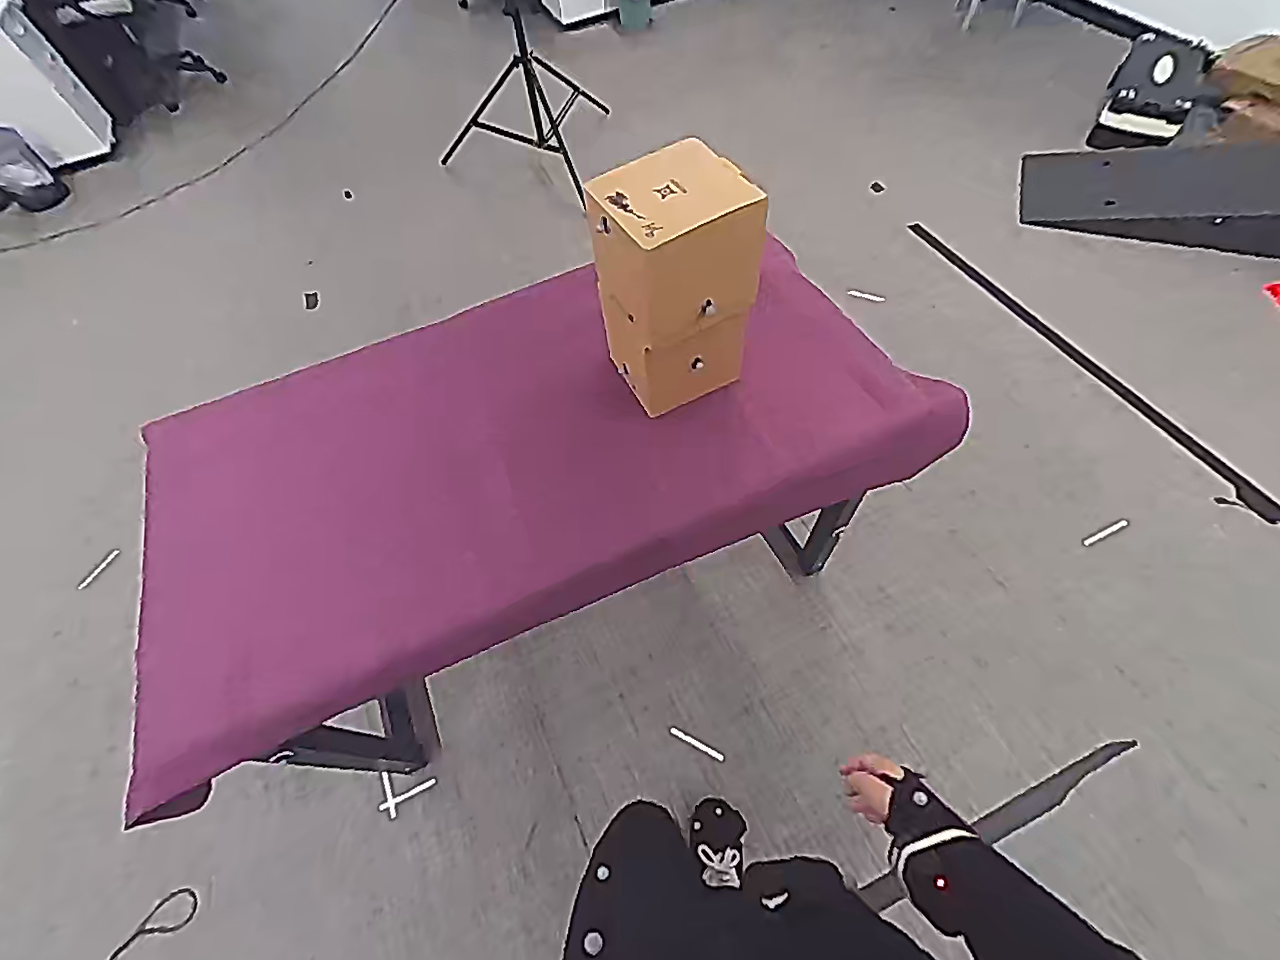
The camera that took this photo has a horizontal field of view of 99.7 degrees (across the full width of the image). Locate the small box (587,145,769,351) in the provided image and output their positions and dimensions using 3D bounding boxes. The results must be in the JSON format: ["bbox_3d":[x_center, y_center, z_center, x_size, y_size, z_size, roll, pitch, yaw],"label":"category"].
[{"bbox_3d":[0.048,-0.311,0.739,0.179,0.176,0.168,-28,60,-12],"label":"small box"}]
